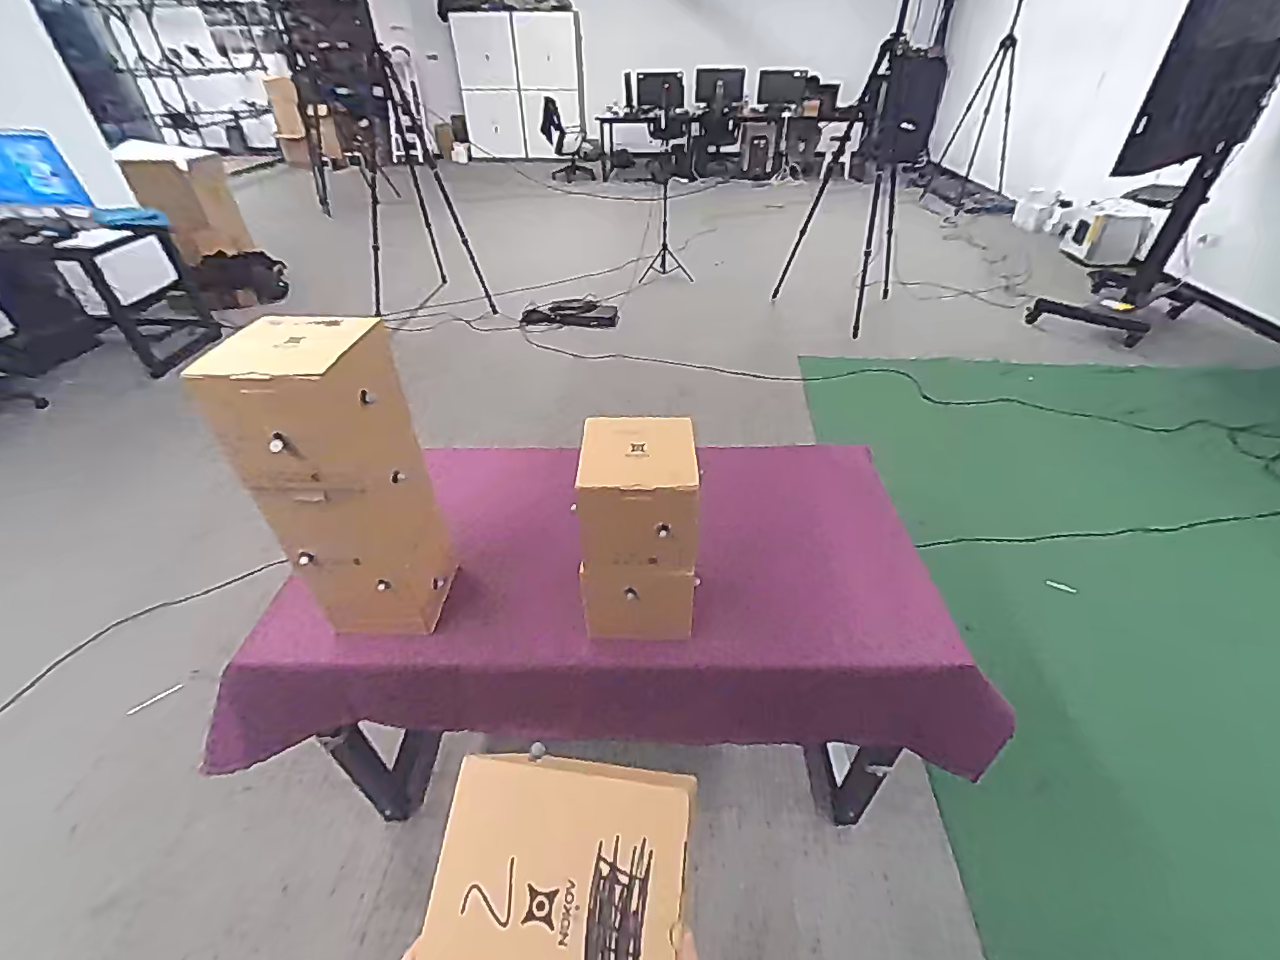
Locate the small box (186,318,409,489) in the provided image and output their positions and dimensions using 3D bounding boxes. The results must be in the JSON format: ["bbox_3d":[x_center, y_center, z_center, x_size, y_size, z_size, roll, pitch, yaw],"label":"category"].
[{"bbox_3d":[-0.433,-0.103,0.725,0.168,0.176,0.179,2,39,0],"label":"small box"}]

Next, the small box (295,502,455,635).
[{"bbox_3d":[-0.441,0.151,0.935,0.179,0.176,0.168,1,39,0],"label":"small box"}]

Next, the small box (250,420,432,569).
[{"bbox_3d":[-0.439,0.022,0.834,0.168,0.176,0.179,1,37,0],"label":"small box"}]

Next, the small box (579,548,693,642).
[{"bbox_3d":[0.000,0.158,0.920,0.179,0.176,0.168,2,39,2],"label":"small box"}]

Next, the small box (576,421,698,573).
[{"bbox_3d":[0.000,0.027,0.823,0.168,0.176,0.179,1,38,0],"label":"small box"}]
